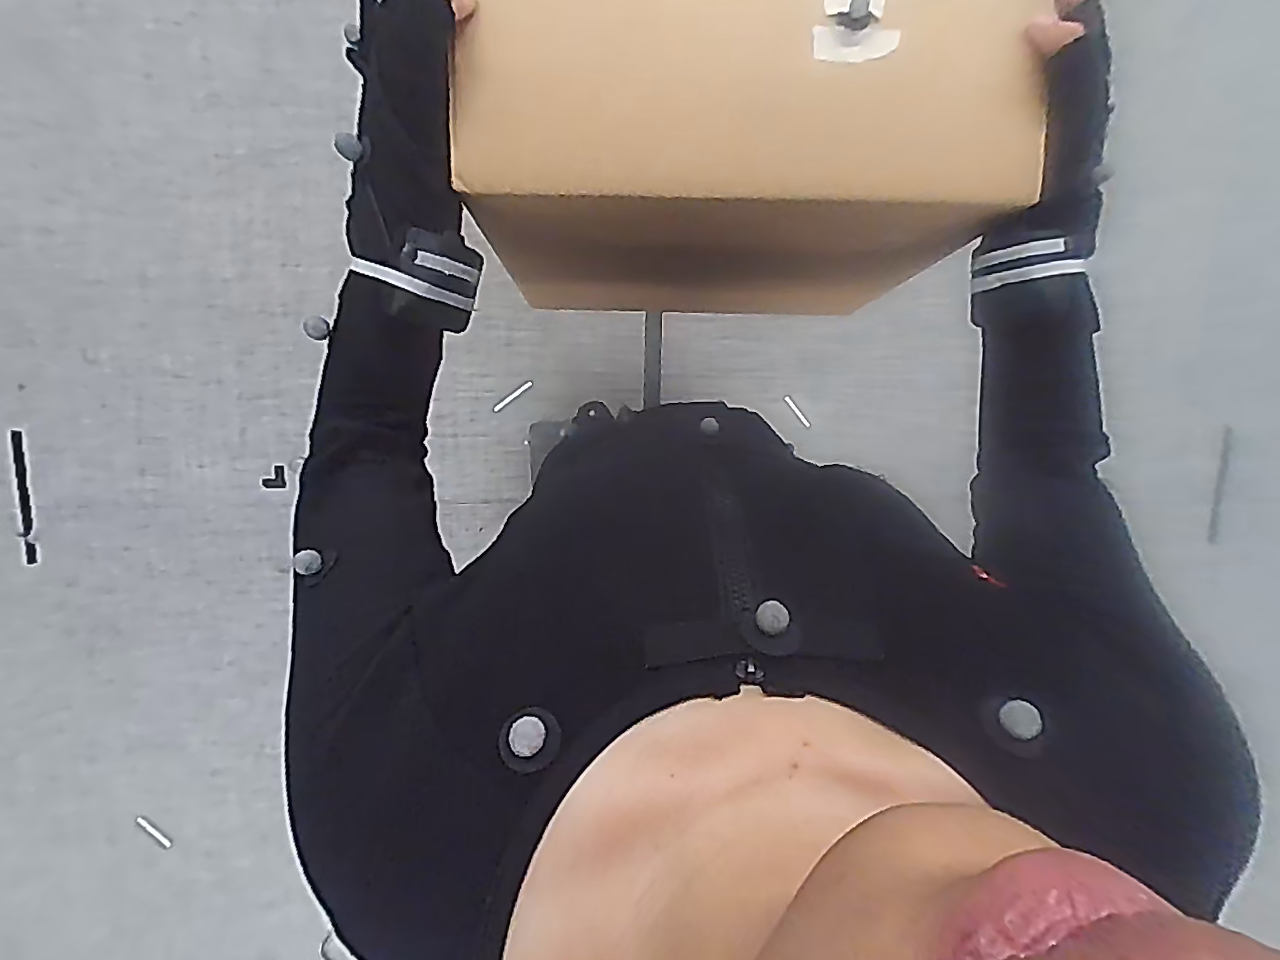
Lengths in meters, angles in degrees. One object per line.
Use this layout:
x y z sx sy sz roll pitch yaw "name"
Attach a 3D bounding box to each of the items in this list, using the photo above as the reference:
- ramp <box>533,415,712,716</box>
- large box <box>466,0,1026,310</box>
-0.044 0.298 1.626 0.509 0.206 0.991 -2 99 -3 "ramp"
0.070 -0.362 0.528 0.408 0.320 0.320 0 93 -2 "large box"
